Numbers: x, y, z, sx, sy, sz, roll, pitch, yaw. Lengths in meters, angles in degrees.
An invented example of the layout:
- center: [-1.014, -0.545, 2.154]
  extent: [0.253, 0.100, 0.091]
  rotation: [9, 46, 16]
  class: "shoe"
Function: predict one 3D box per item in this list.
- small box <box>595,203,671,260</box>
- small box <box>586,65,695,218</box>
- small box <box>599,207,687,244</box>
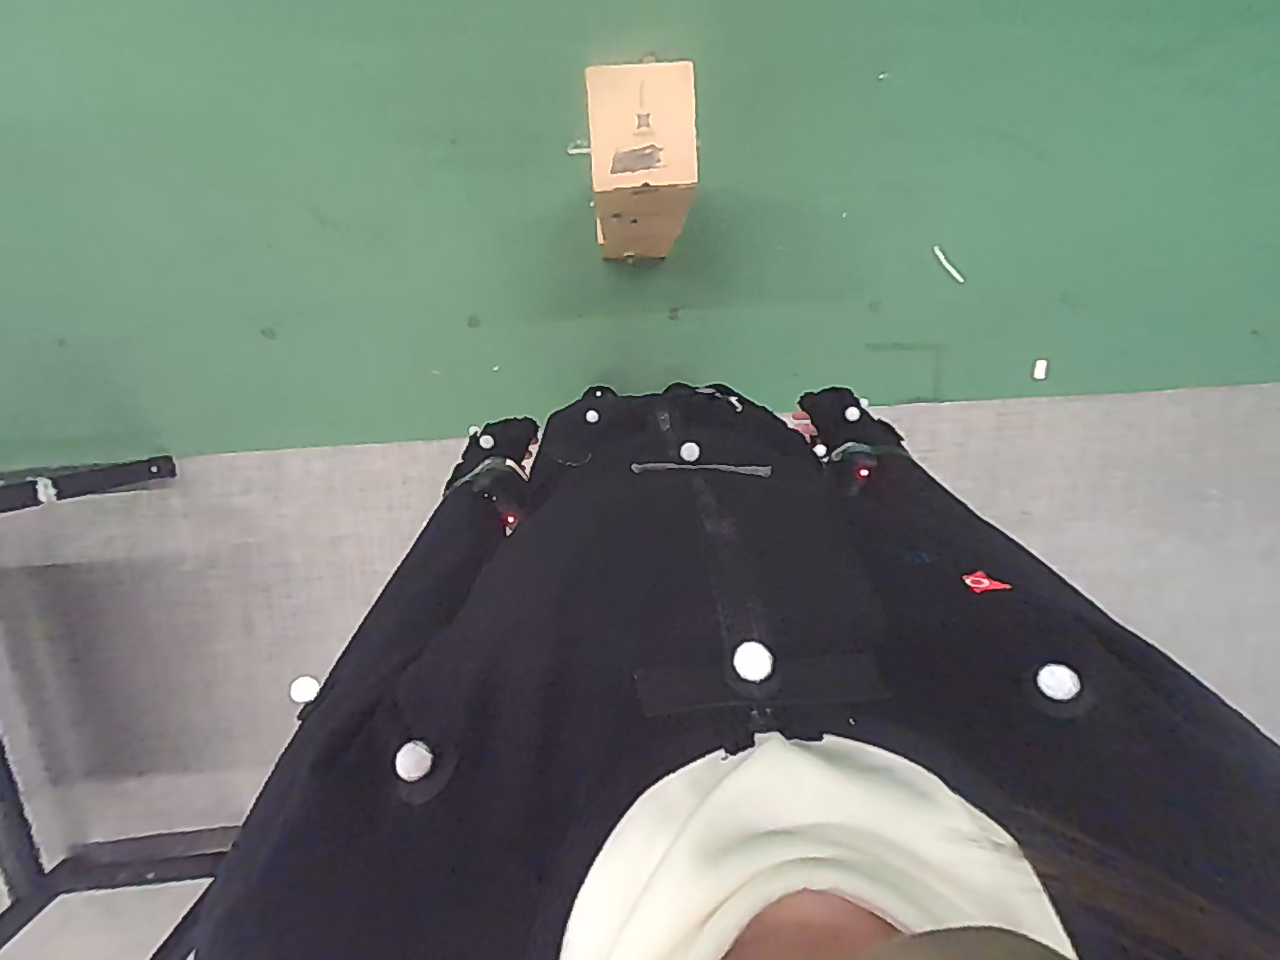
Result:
- center: [-0.016, -0.605, 1.213]
  extent: [0.168, 0.176, 0.179]
  rotation: [0, 101, 0]
  class: "small box"
- center: [0.002, -0.552, 0.908]
  extent: [0.168, 0.176, 0.179]
  rotation: [-3, 100, -1]
  class: "small box"
- center: [-0.001, -0.584, 1.070]
  extent: [0.168, 0.176, 0.179]
  rotation: [-3, 100, -1]
  class: "small box"
